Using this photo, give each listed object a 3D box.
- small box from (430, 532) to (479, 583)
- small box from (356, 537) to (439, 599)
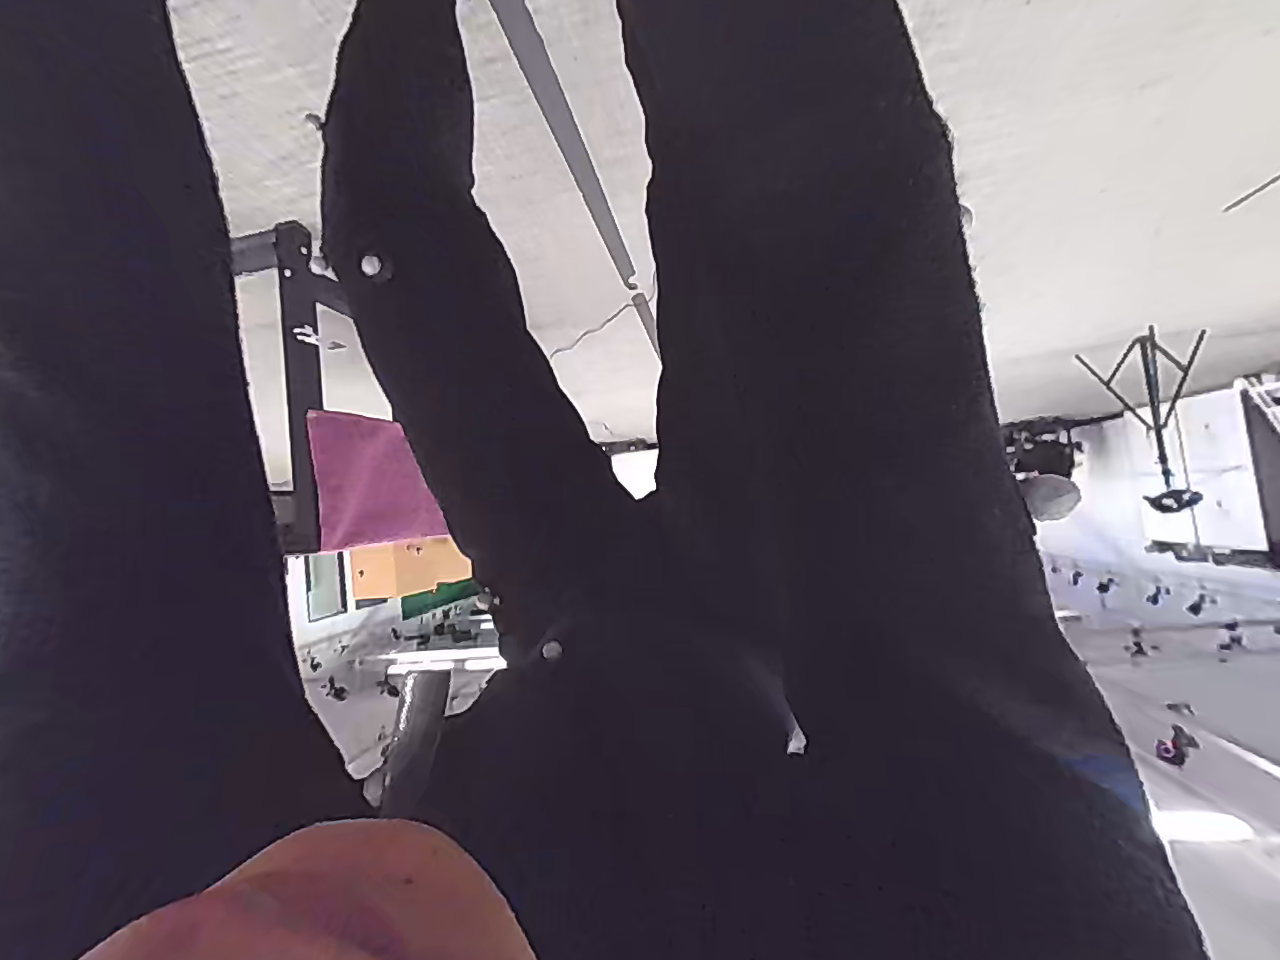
[{"bbox_3d":[-0.714,0.284,1.979,0.179,0.176,0.168,-8,177,14],"label":"small box"},{"bbox_3d":[-0.752,0.269,1.676,0.179,0.176,0.168,-8,177,21],"label":"small box"}]
